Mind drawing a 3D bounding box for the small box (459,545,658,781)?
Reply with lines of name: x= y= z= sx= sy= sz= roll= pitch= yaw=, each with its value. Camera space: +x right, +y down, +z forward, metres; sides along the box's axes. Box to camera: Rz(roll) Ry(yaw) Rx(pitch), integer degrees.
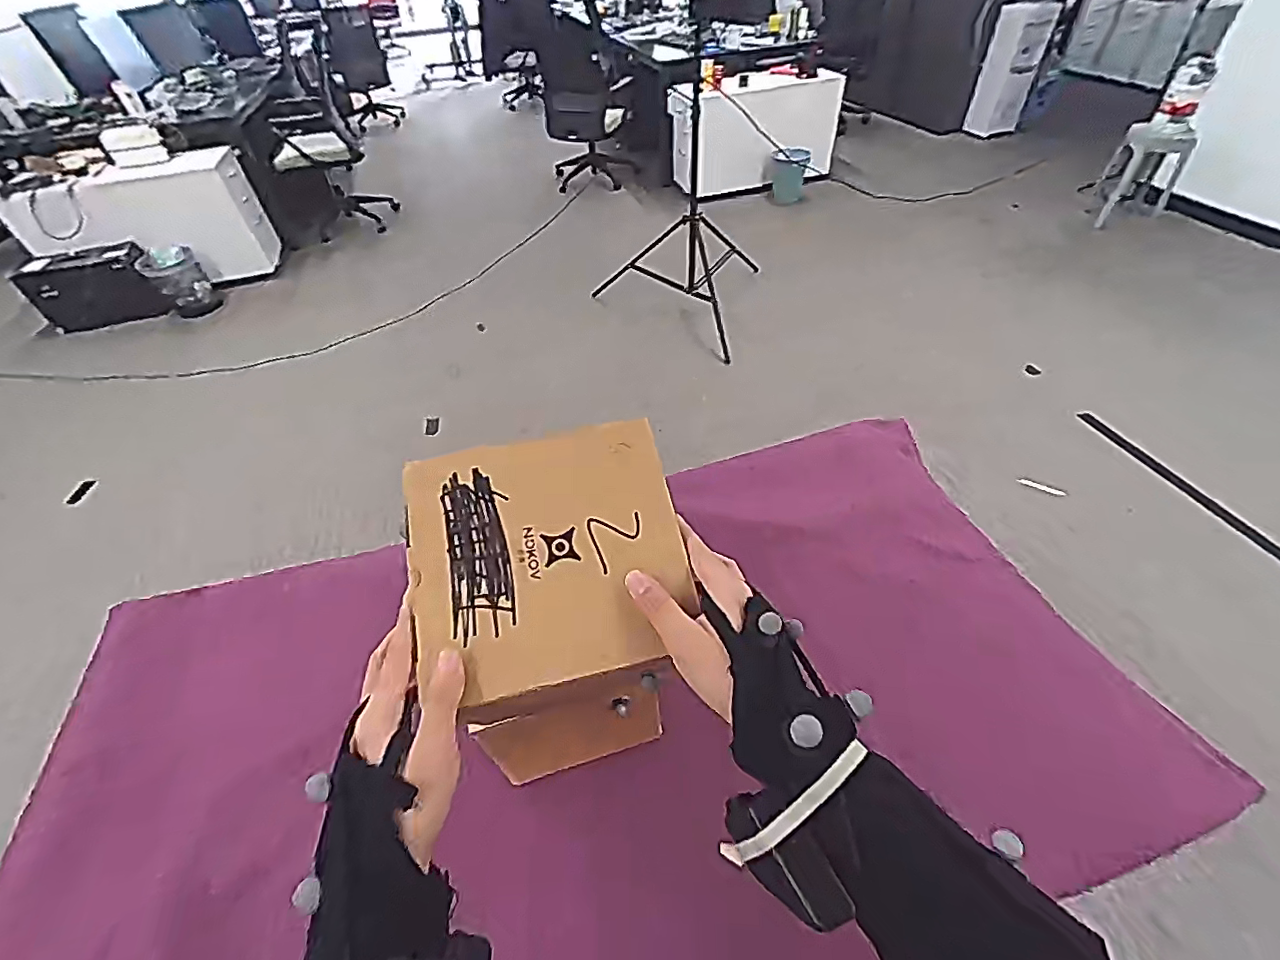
small box: x=-0.086 y=0.205 z=0.601 sx=0.179 sy=0.176 sz=0.168 roll=-14 pitch=46 yaw=-10
